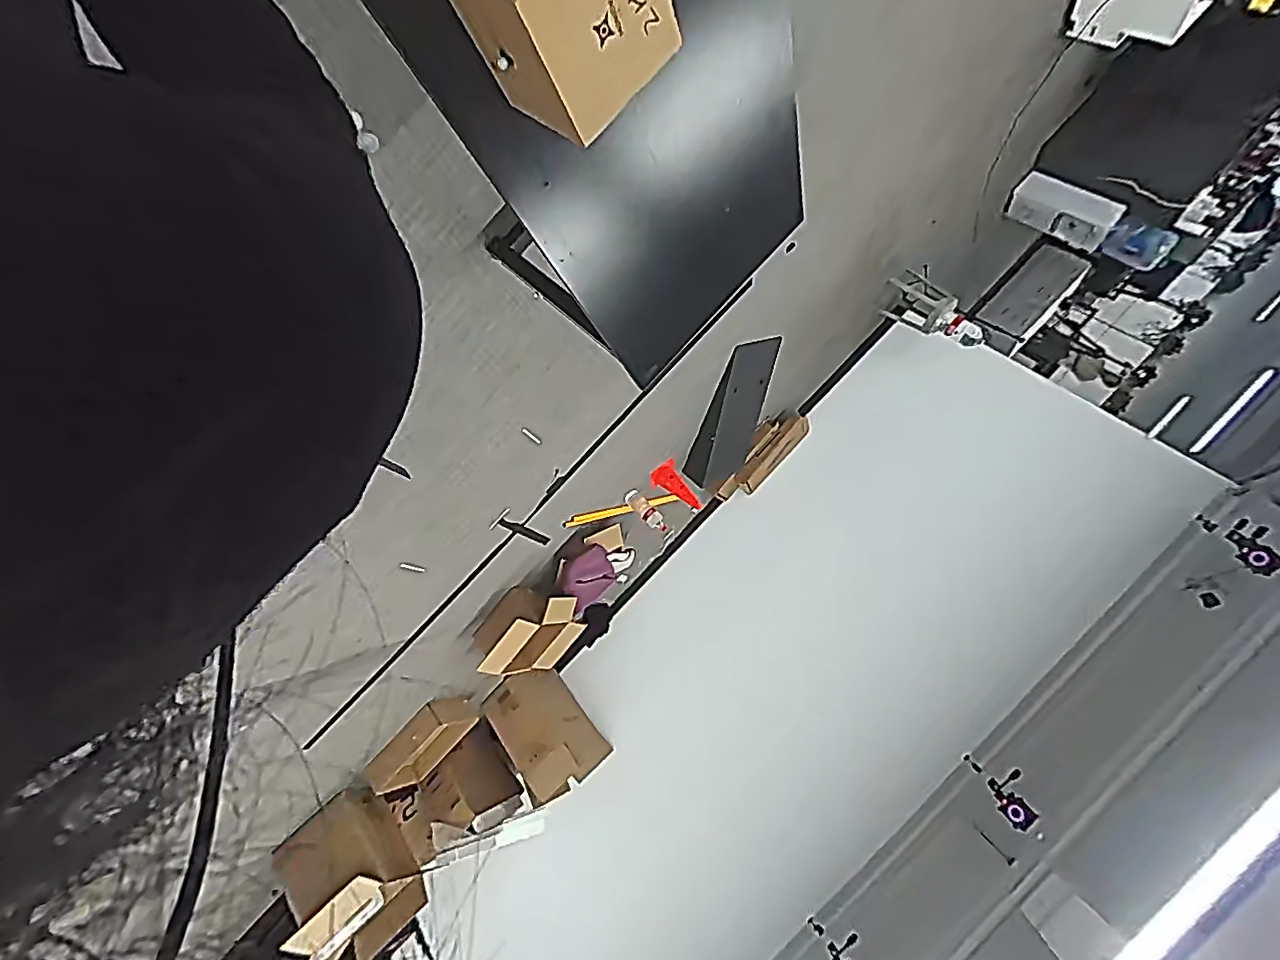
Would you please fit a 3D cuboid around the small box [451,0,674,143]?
[{"bbox_3d":[-0.095,-0.544,0.622,0.179,0.176,0.168,-47,155,1],"label":"small box"}]
